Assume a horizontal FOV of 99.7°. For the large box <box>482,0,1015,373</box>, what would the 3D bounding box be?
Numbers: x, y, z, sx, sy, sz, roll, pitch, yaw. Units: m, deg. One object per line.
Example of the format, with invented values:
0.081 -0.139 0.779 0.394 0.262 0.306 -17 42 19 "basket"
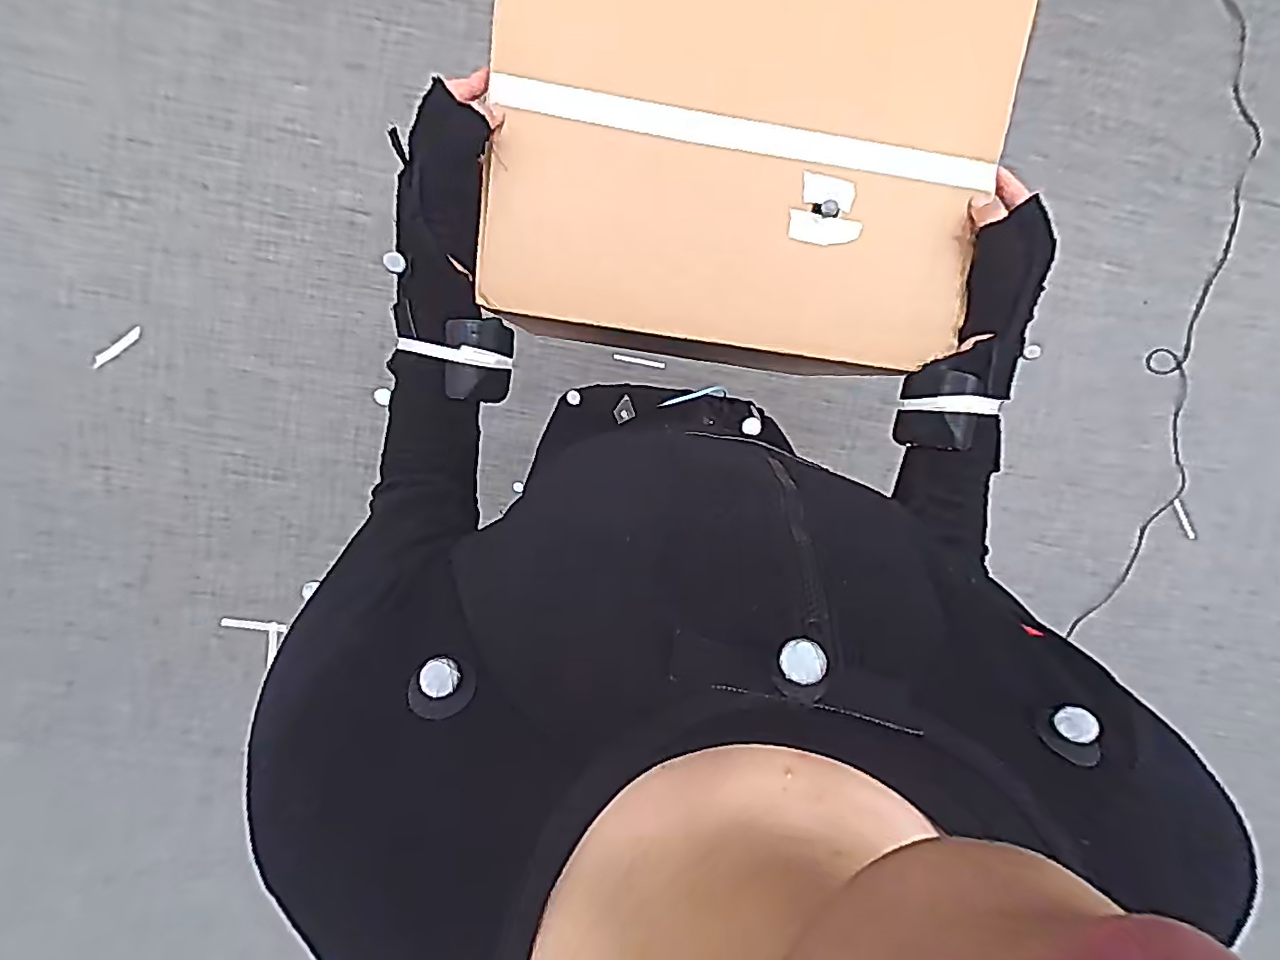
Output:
0.070 -0.294 0.578 0.408 0.320 0.320 7 102 -7 "large box"
